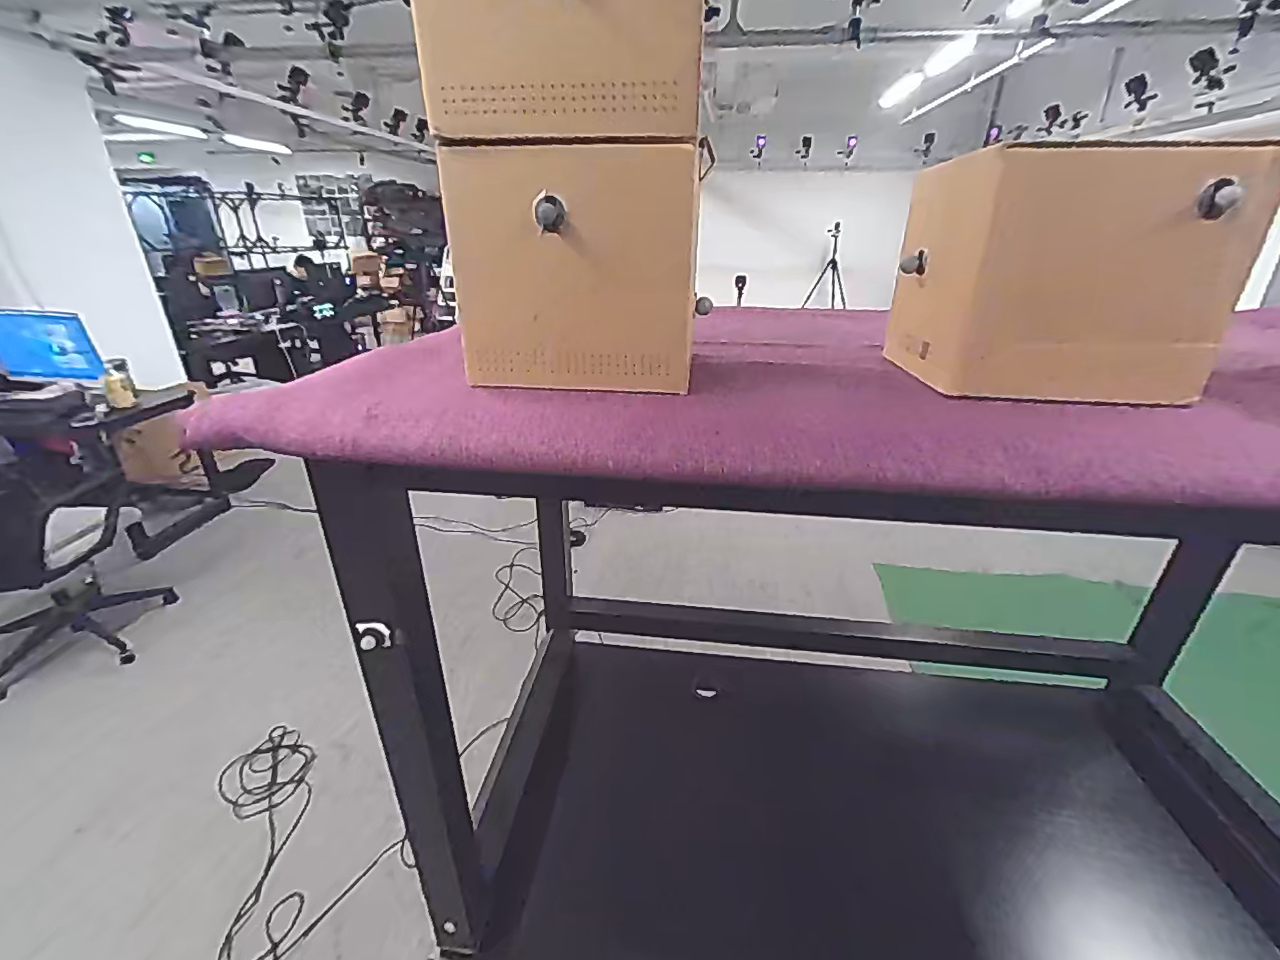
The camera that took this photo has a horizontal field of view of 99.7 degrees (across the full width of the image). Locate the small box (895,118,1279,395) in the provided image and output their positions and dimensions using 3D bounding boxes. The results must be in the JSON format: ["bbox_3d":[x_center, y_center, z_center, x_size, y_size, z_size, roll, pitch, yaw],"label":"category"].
[{"bbox_3d":[0.319,-0.167,0.428,0.179,0.176,0.168,3,24,6],"label":"small box"}]

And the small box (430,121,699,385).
[{"bbox_3d":[-0.043,-0.181,0.447,0.179,0.176,0.168,3,26,5],"label":"small box"}]
